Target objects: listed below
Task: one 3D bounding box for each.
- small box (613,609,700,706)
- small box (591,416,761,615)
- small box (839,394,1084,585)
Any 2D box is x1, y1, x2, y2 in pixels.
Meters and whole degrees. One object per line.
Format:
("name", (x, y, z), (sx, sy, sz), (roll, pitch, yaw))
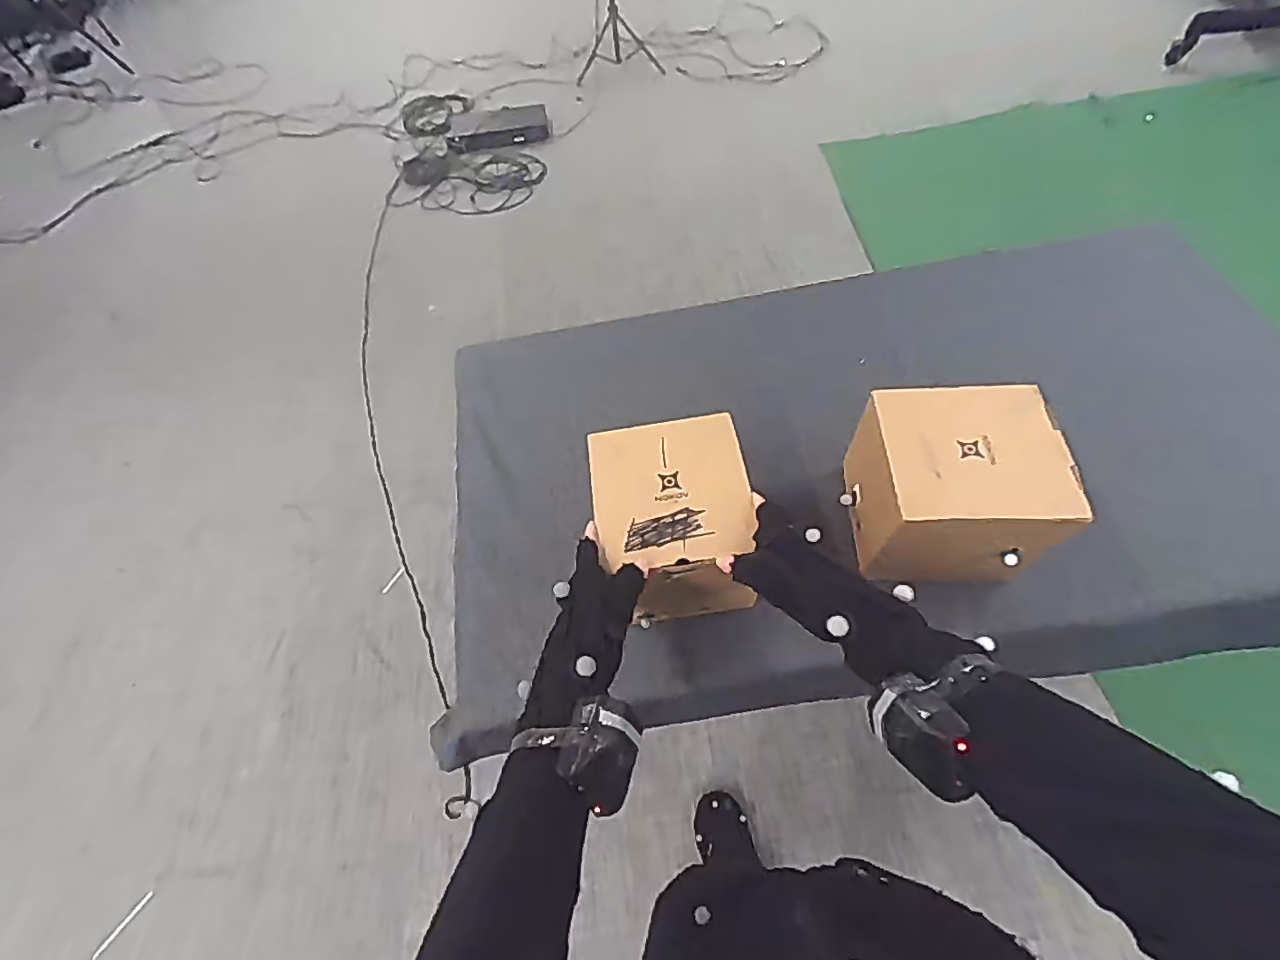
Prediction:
("small box", (0.042, 0.423, 1.274), (0.168, 0.176, 0.179), (-13, 61, -2))
("small box", (0.040, 0.051, 0.640), (0.168, 0.176, 0.179), (-8, 59, 1))
("small box", (0.349, 0.017, 0.631), (0.179, 0.176, 0.168), (-1, 59, 6))
